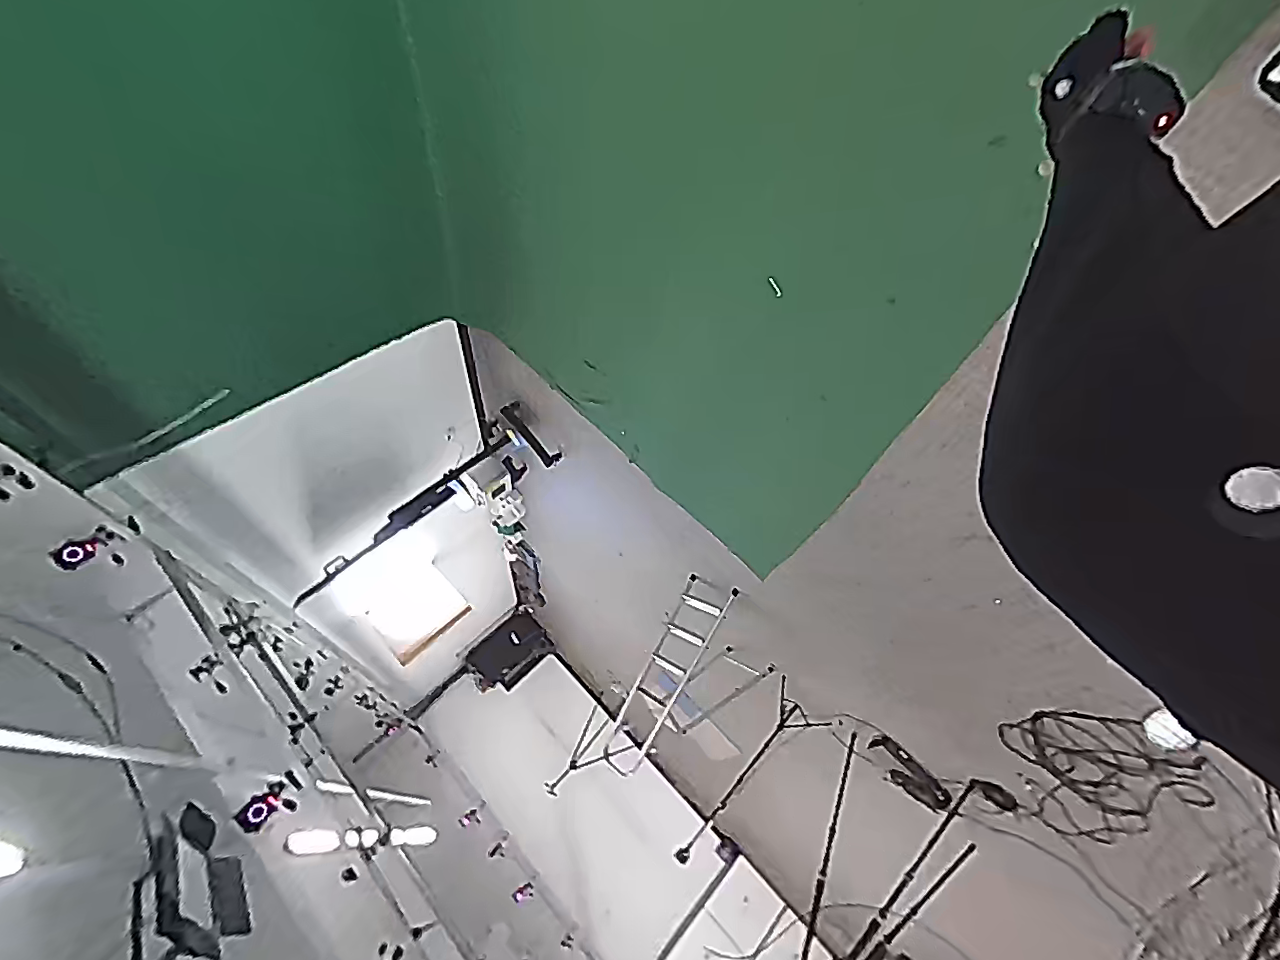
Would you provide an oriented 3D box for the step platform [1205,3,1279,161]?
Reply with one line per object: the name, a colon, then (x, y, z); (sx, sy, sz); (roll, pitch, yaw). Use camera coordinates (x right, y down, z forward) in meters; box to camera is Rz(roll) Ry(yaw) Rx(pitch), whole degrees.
step platform: (1.046, -0.709, 0.560); (0.286, 0.204, 0.684); (41, 152, 17)
